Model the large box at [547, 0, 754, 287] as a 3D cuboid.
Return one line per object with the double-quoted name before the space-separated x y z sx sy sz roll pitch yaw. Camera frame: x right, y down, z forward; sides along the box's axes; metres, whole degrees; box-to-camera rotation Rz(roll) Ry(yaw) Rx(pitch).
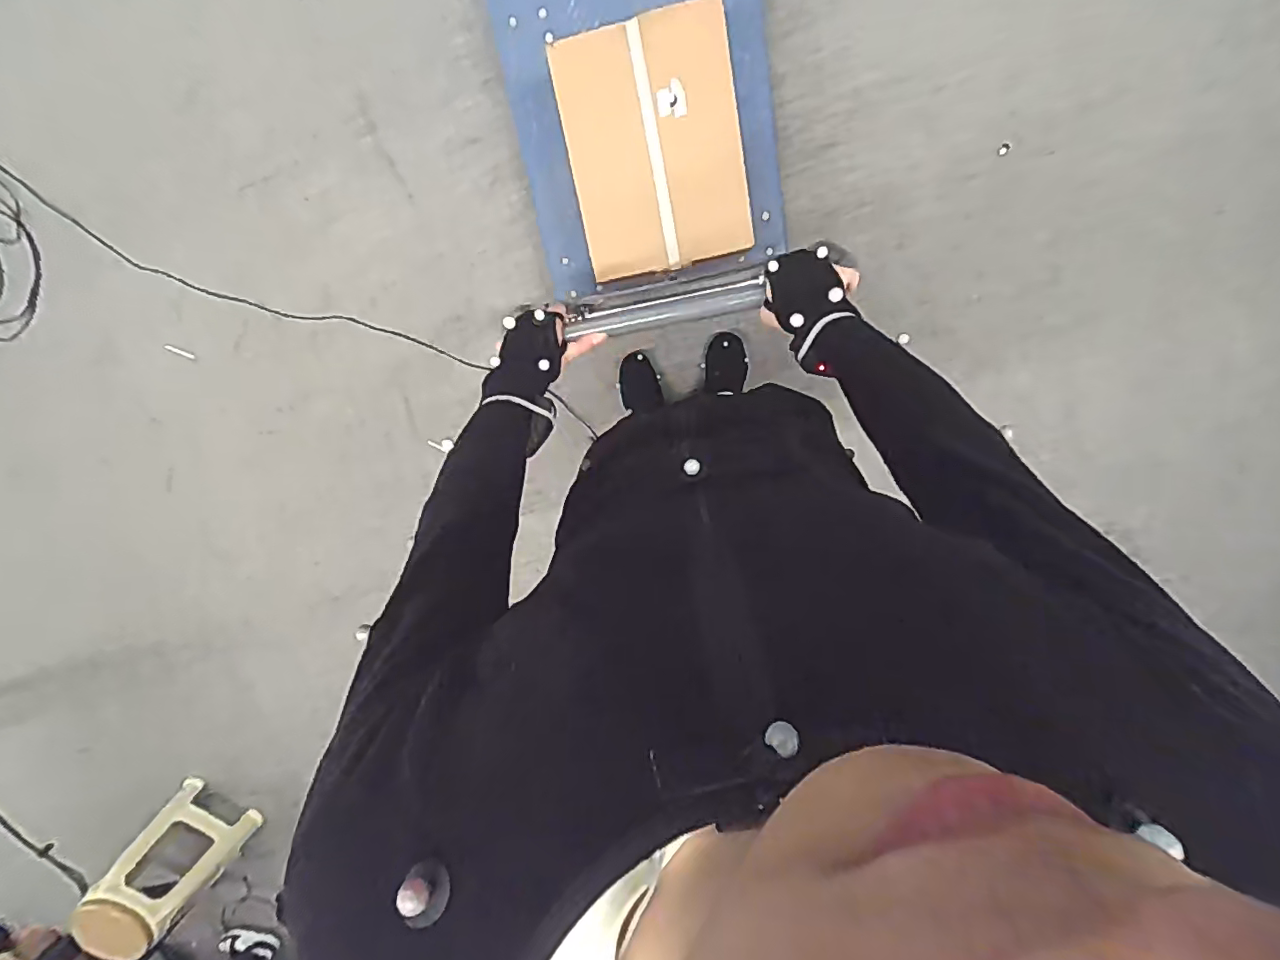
"large box" 0.039 -0.647 1.126 0.320 0.320 0.408 -10 106 7
